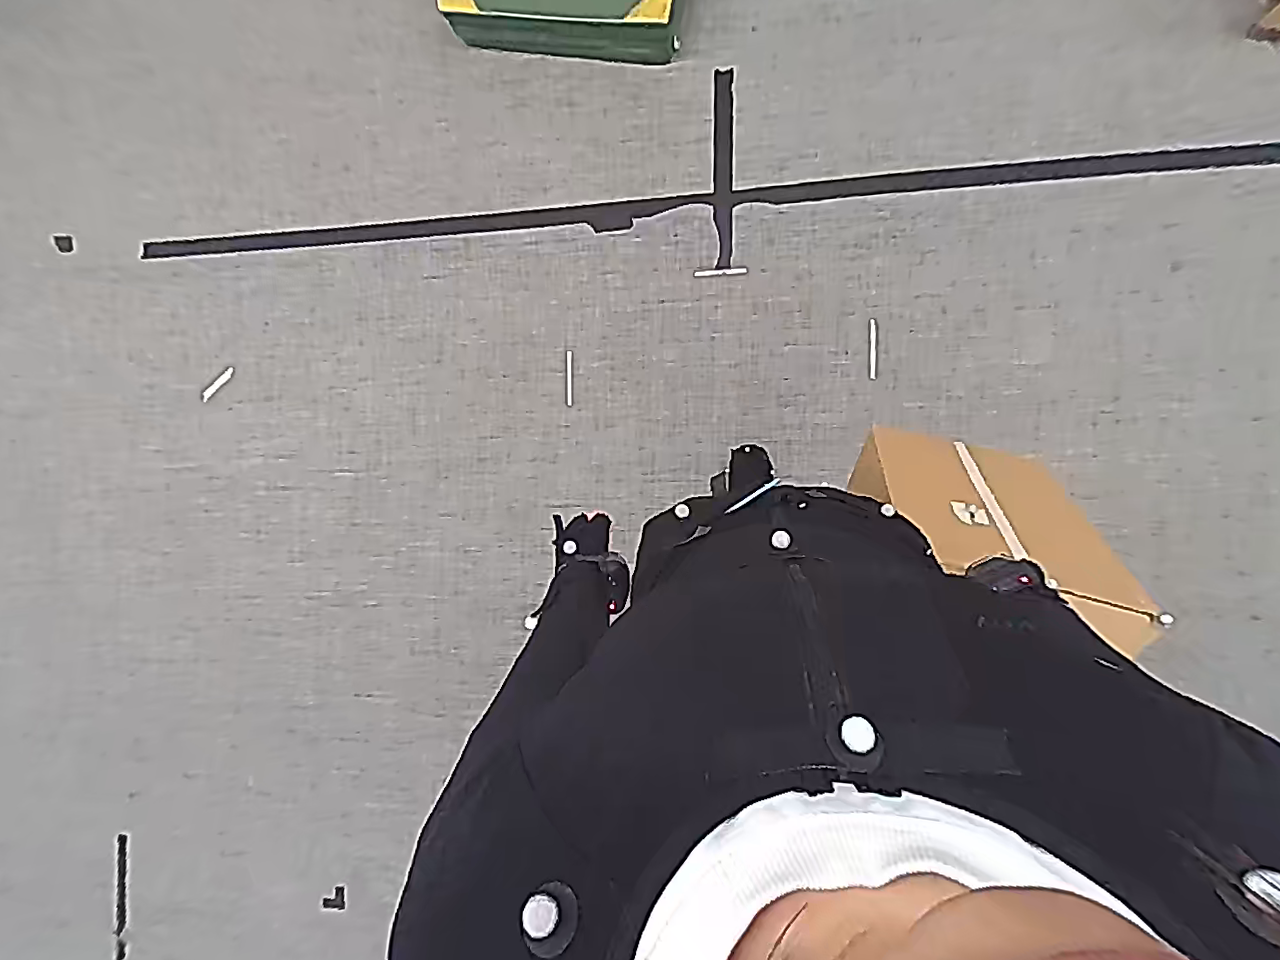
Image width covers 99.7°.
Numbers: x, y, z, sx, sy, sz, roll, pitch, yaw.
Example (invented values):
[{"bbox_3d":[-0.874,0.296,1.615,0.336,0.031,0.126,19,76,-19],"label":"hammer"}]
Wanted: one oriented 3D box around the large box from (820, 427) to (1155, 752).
[{"bbox_3d":[0.515,0.160,0.927,0.320,0.408,0.320,14,124,8],"label":"large box"}]
